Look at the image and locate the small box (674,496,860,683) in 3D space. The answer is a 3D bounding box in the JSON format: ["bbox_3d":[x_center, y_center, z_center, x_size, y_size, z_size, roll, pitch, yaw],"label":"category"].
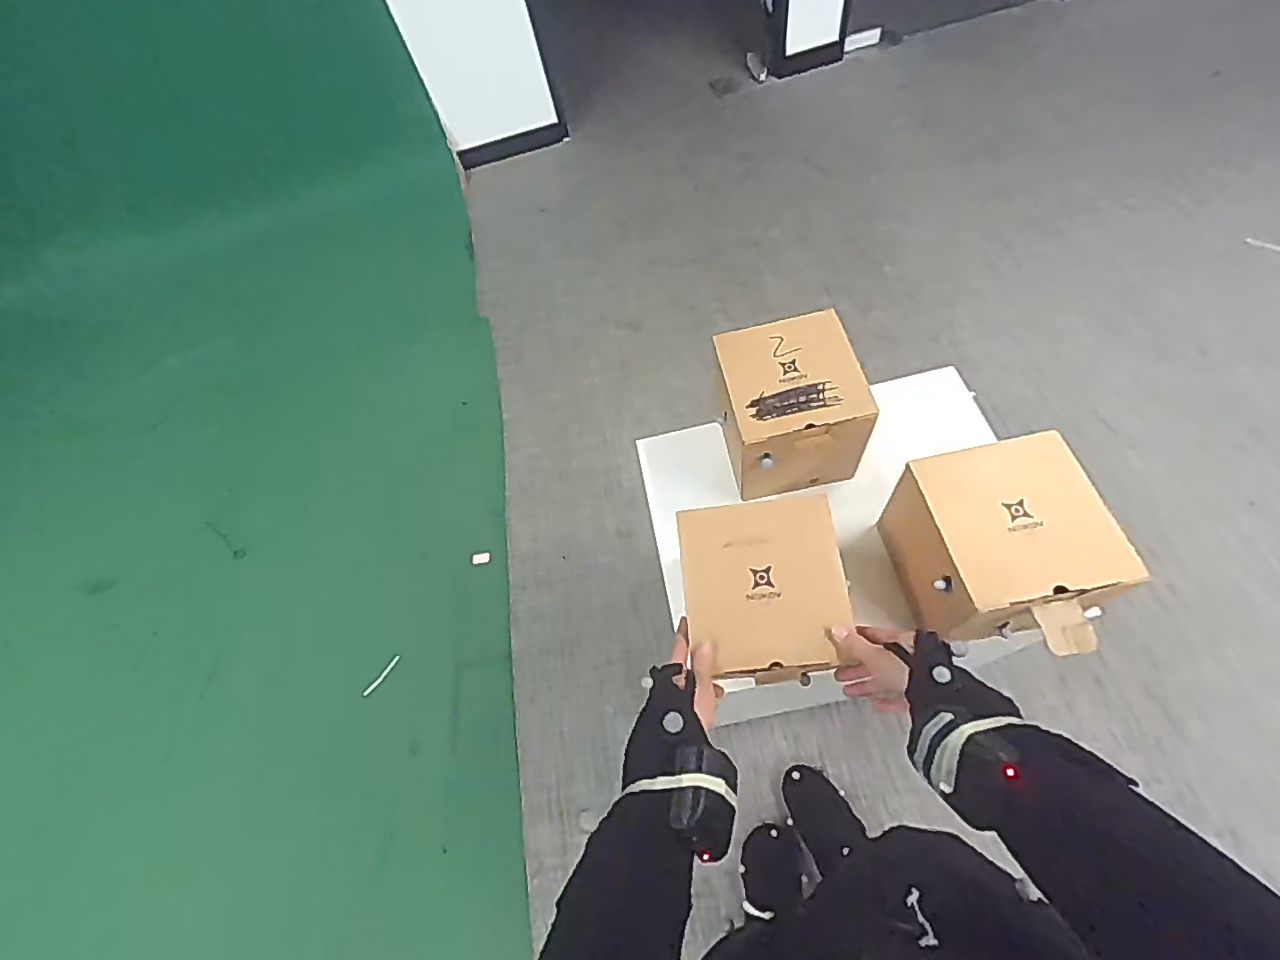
[{"bbox_3d":[0.136,0.136,0.625,0.168,0.176,0.179,-8,67,5],"label":"small box"}]

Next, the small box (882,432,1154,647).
[{"bbox_3d":[0.402,0.075,0.621,0.168,0.176,0.179,-13,60,4],"label":"small box"}]
